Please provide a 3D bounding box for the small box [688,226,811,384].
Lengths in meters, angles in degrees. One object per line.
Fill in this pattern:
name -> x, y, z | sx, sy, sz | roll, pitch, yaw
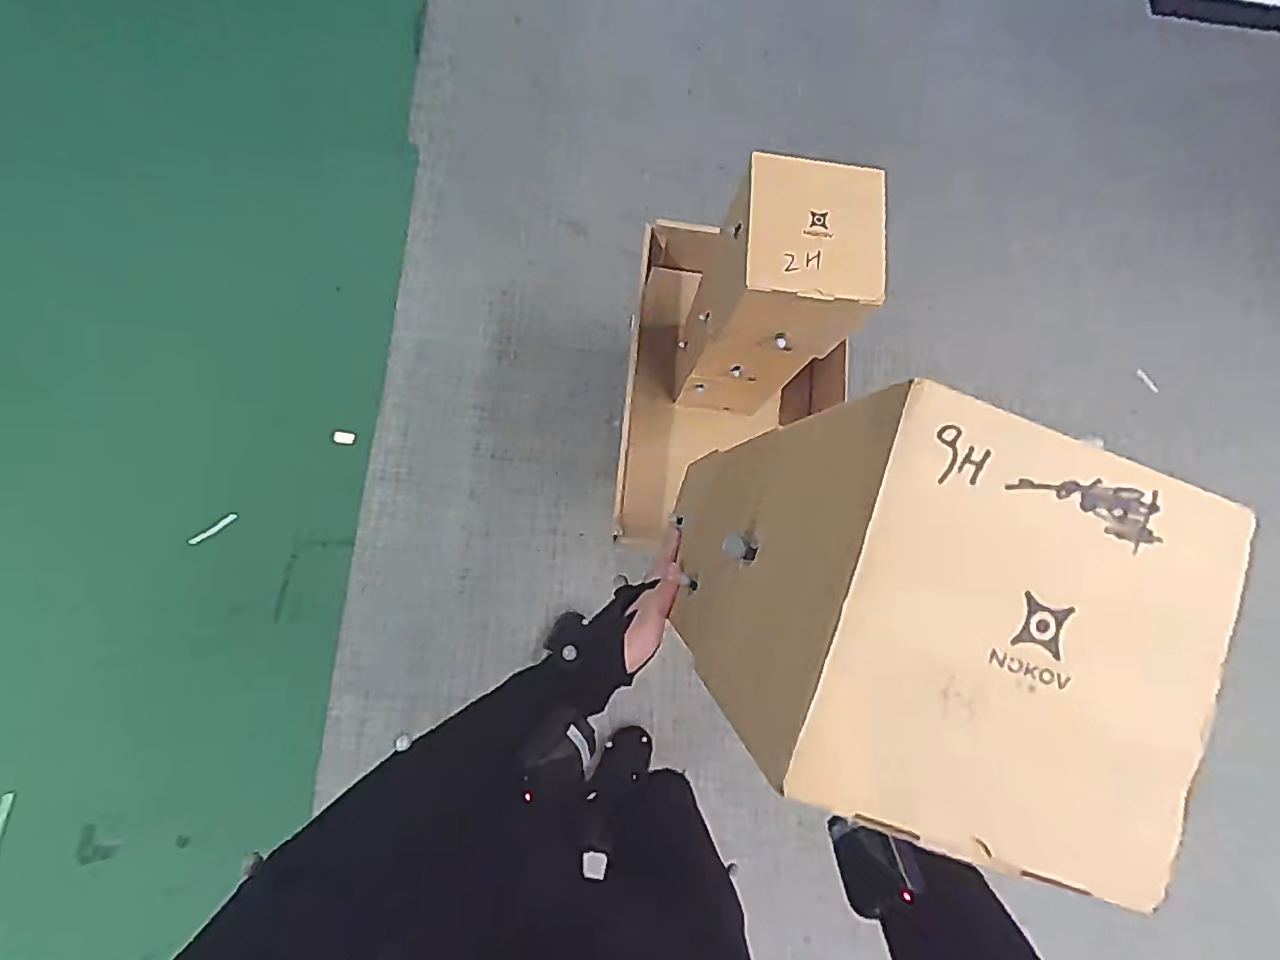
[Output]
small box -> 0.177, -0.273, 0.869 | 0.168, 0.176, 0.179 | 6, 81, -4

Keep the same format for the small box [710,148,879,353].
small box -> 0.190, -0.286, 0.705 | 0.168, 0.176, 0.179 | 5, 81, -4

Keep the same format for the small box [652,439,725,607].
small box -> 0.118, 0.070, 0.627 | 0.168, 0.176, 0.179 | 19, 85, -3

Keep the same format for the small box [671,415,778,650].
small box -> 0.133, 0.065, 0.465 | 0.168, 0.176, 0.179 | 20, 85, -3

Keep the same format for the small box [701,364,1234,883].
small box -> 0.143, 0.061, 0.302 | 0.168, 0.176, 0.179 | 19, 87, -4
